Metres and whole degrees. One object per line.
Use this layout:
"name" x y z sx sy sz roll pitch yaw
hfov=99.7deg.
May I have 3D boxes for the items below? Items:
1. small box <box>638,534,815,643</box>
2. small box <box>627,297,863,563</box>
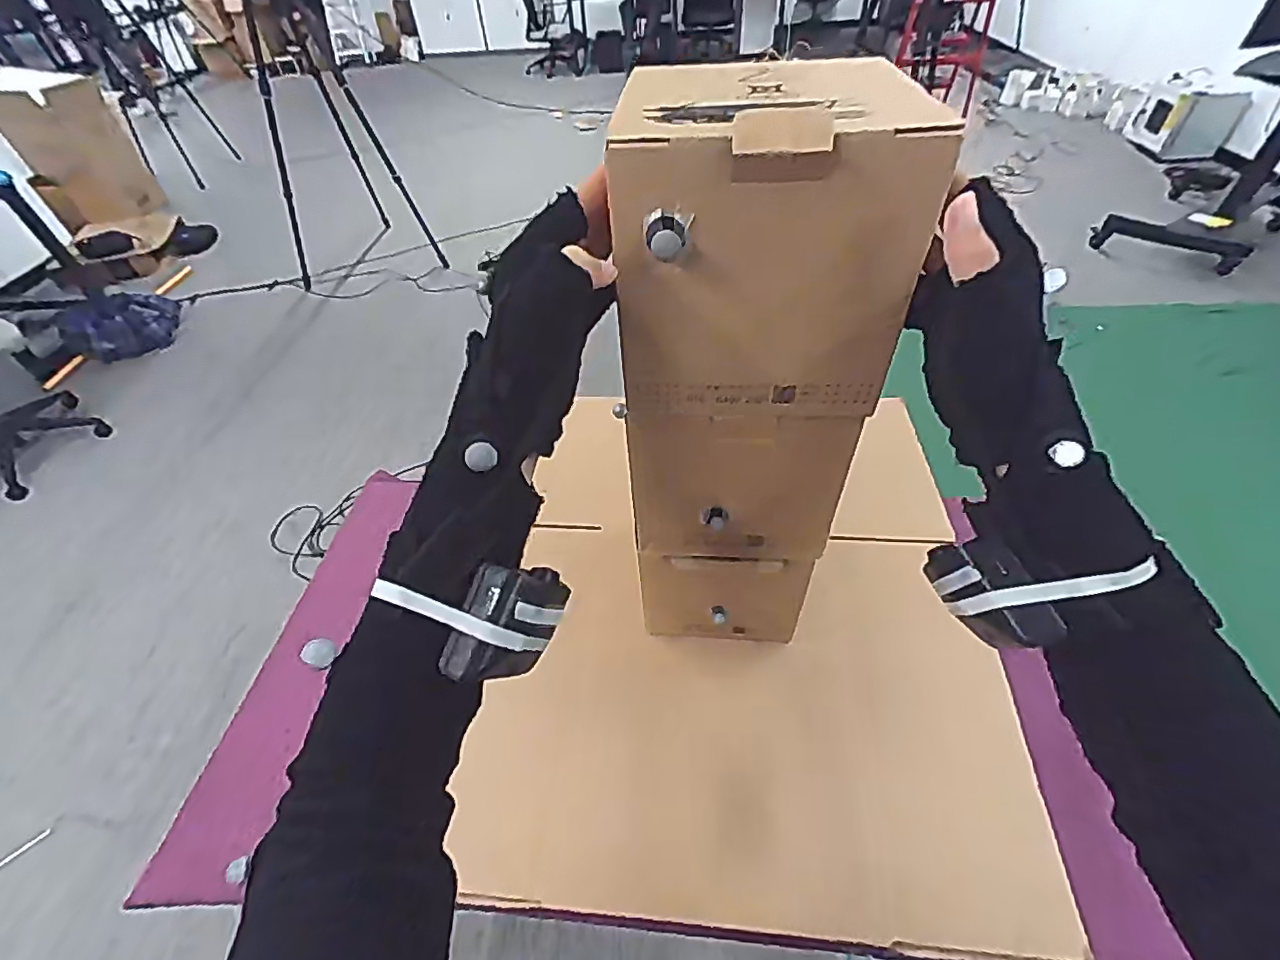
"small box" 0.091 0.061 0.611 0.168 0.176 0.179 1 47 7
"small box" 0.081 -0.047 0.488 0.168 0.176 0.179 1 47 5
